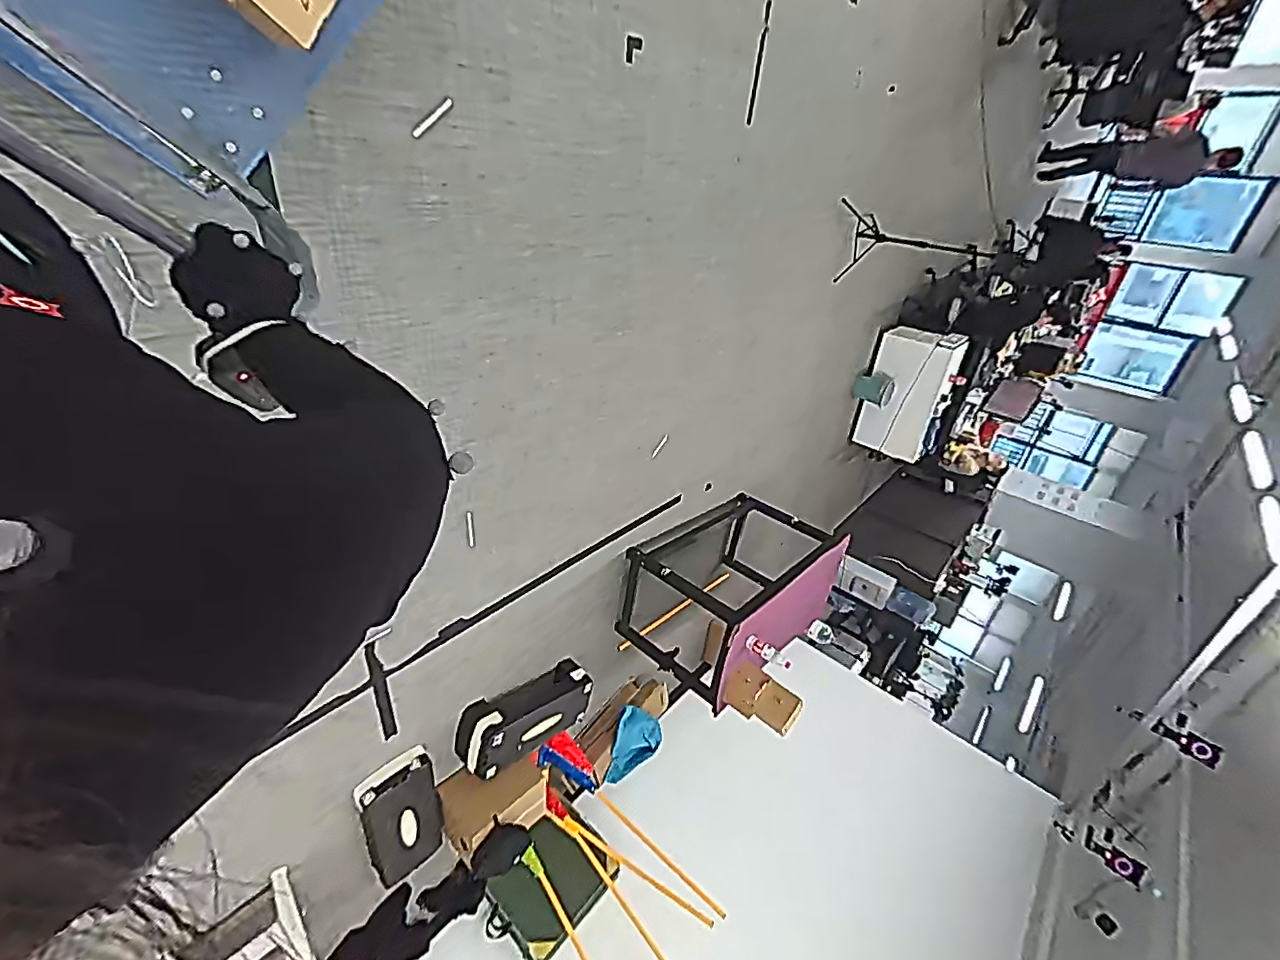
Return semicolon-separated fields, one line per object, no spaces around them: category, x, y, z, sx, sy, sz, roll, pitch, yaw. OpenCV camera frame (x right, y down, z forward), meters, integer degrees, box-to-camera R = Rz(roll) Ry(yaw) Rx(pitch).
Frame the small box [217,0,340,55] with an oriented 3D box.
small box;-0.582;-0.799;0.829;0.168;0.176;0.179;-56;146;4
